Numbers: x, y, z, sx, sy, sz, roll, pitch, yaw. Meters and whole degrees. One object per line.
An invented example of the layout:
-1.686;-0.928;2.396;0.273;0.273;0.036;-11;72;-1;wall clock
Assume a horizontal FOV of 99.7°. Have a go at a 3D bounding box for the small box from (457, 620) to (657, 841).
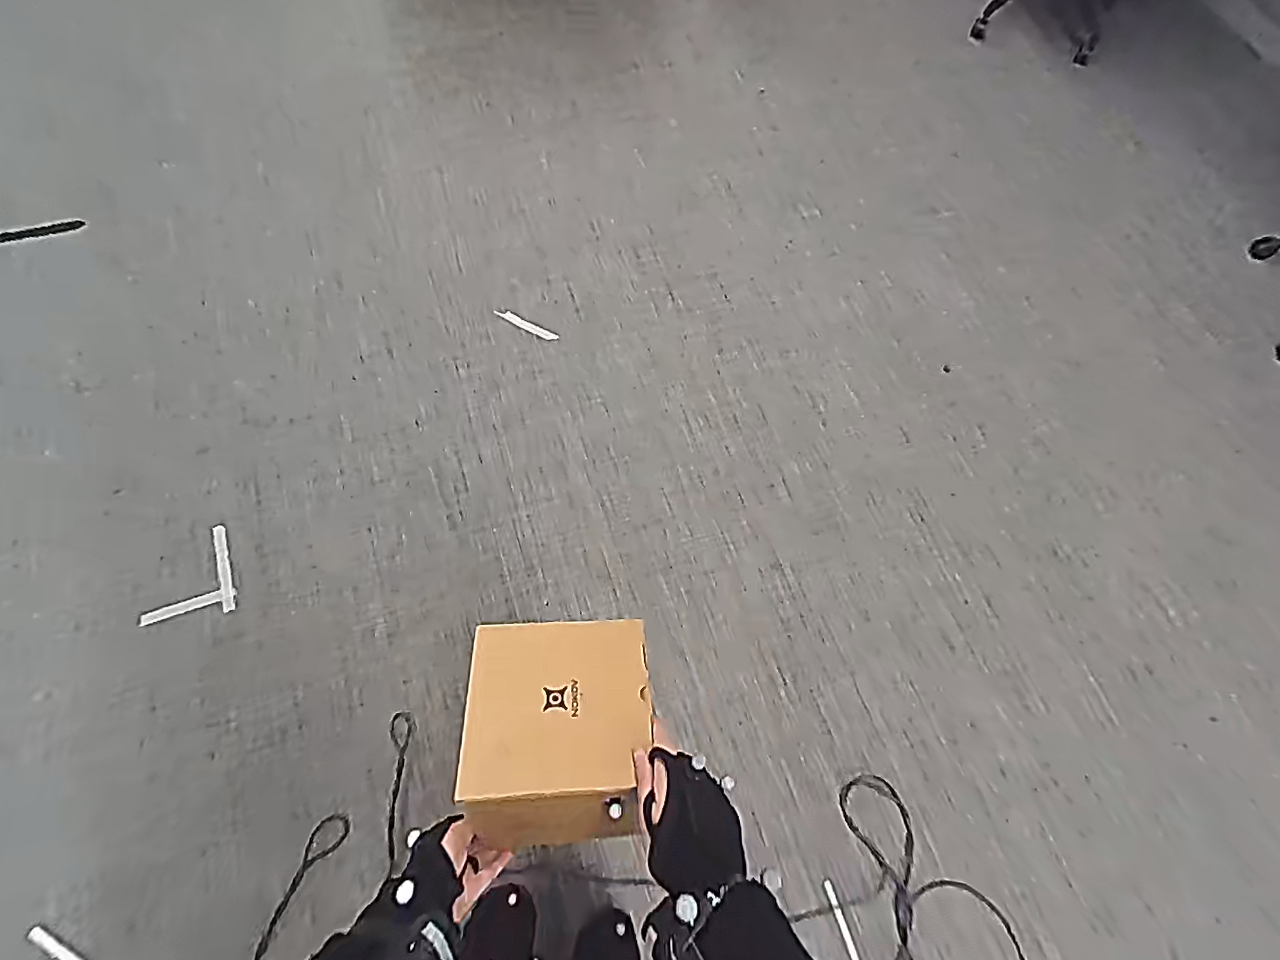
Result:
-0.083;0.267;0.578;0.179;0.176;0.168;0;45;-8;small box
